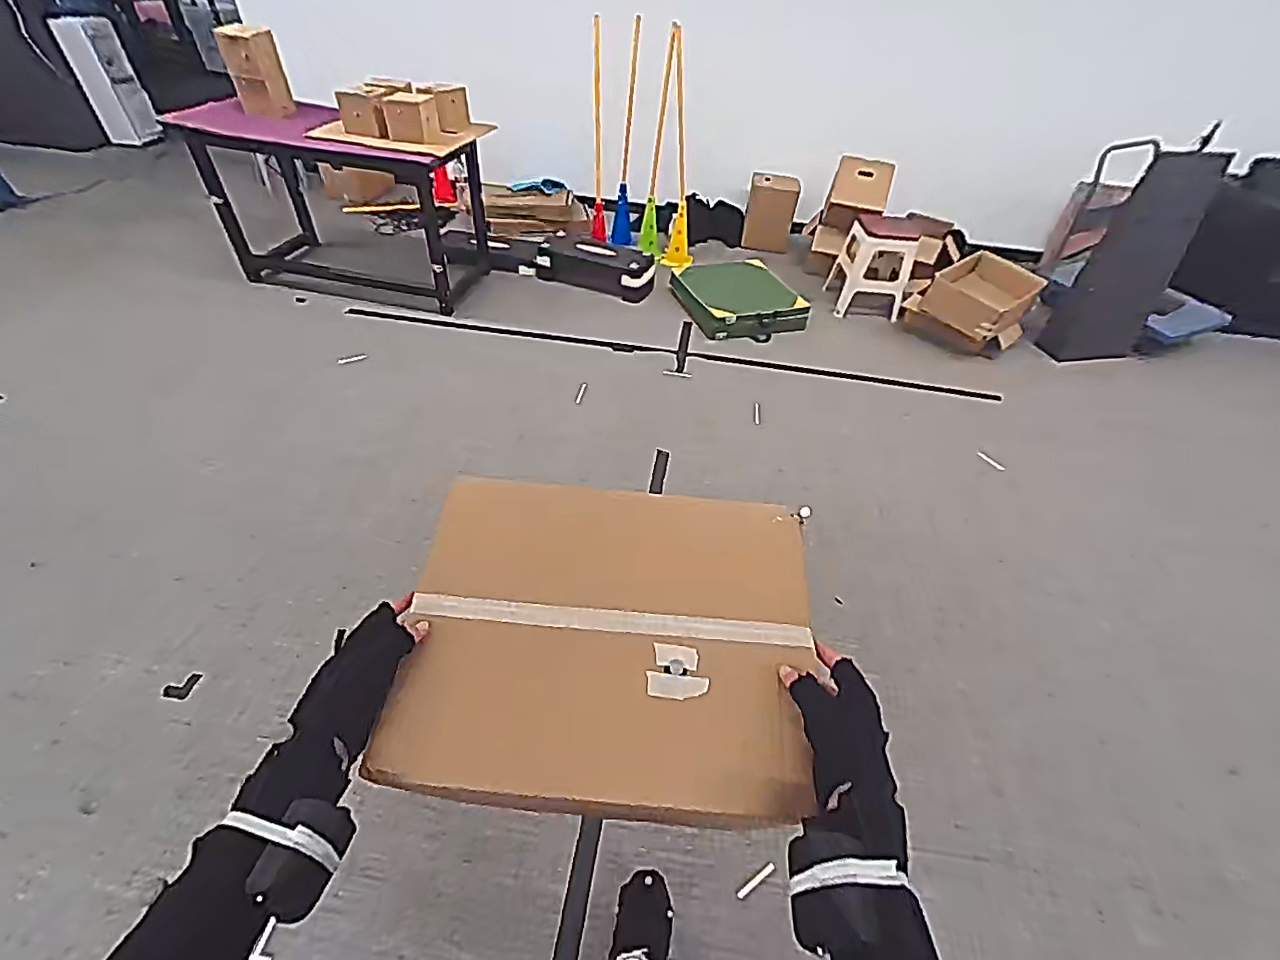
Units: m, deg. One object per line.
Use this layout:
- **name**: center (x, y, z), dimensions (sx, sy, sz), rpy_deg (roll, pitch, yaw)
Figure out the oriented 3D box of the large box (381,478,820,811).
- **large box**: center (-0.035, 0.222, 0.686), dimensions (0.408, 0.320, 0.320), rpy_deg (5, 57, 0)
